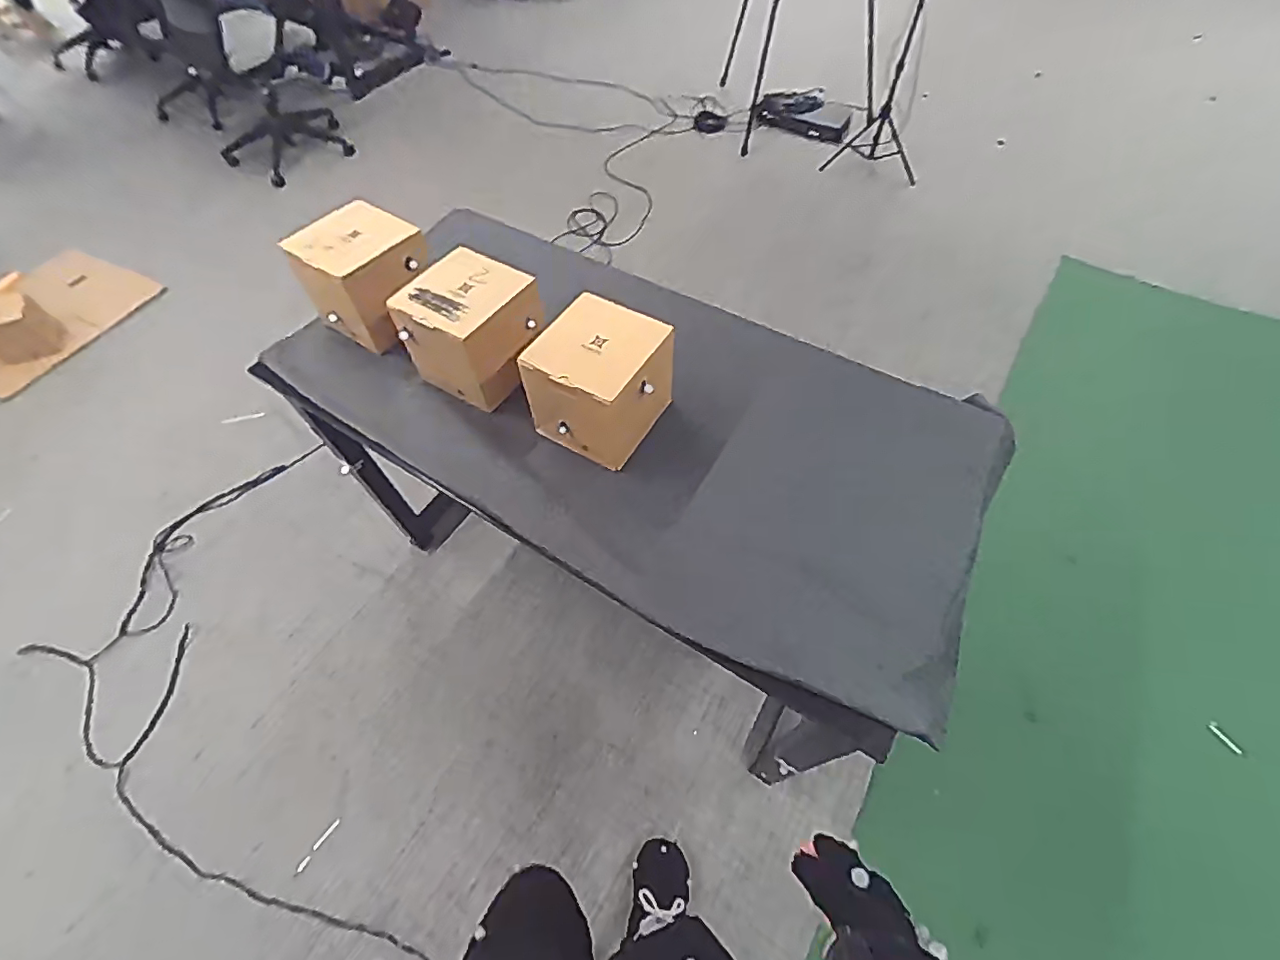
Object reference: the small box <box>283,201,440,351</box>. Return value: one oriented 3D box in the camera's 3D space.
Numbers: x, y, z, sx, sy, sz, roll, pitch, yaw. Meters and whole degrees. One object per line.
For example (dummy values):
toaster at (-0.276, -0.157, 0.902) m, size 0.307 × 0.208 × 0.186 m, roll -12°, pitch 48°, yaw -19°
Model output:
small box at (-0.497, -0.375, 1.003) m, size 0.168 × 0.176 × 0.179 m, roll 30°, pitch 61°, yaw 19°

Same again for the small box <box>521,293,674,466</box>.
small box at (-0.061, -0.156, 0.860) m, size 0.168 × 0.176 × 0.179 m, roll 27°, pitch 62°, yaw 17°
